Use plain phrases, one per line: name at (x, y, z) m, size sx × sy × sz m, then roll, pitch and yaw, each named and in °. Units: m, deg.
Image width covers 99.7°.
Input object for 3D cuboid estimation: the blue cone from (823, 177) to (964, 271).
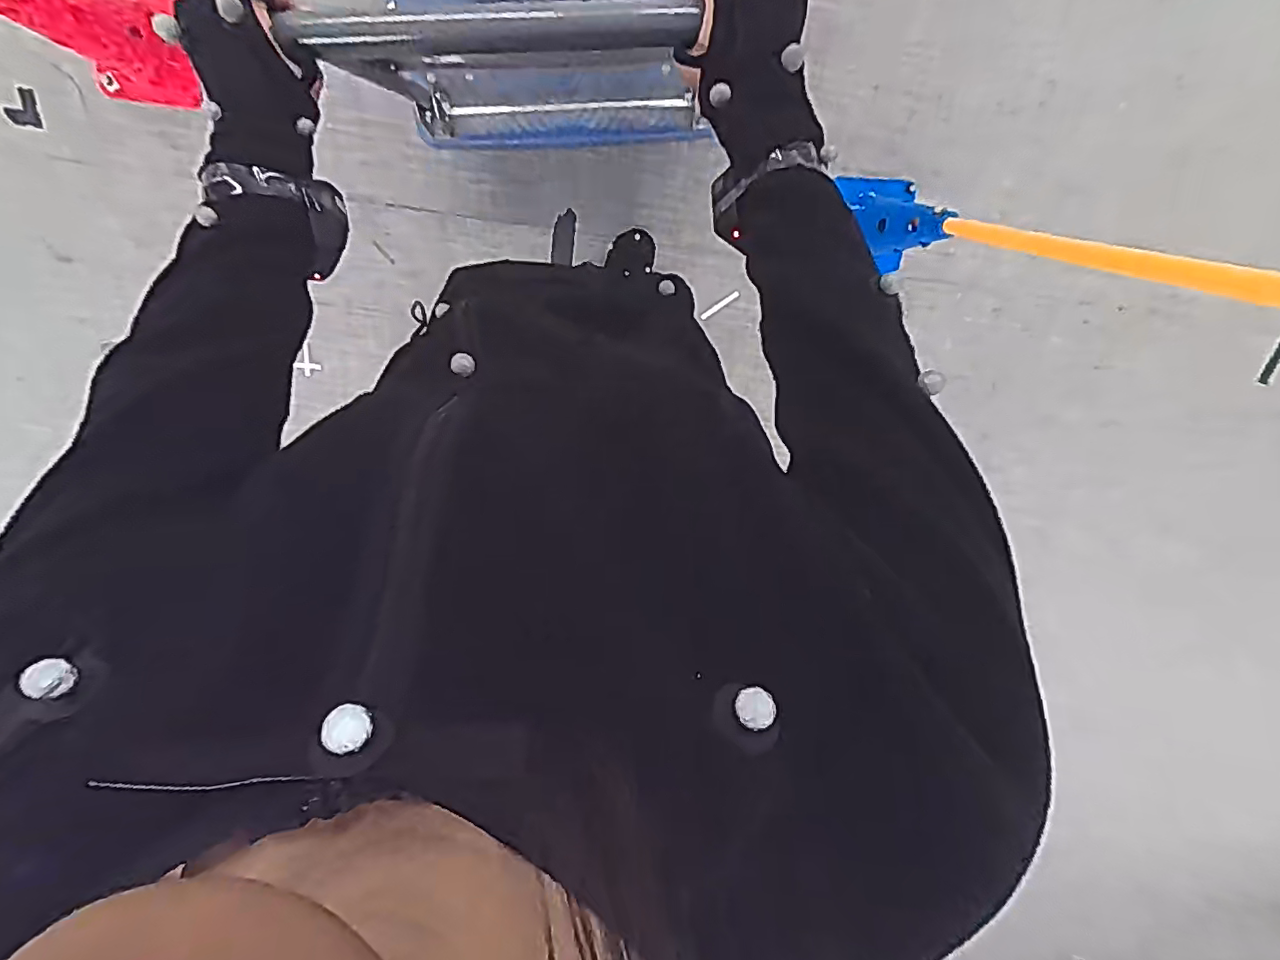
blue cone at (0.529, -0.522, 1.095) m, size 0.193 × 0.380 × 0.192 m, roll 3°, pitch 113°, yaw -3°
